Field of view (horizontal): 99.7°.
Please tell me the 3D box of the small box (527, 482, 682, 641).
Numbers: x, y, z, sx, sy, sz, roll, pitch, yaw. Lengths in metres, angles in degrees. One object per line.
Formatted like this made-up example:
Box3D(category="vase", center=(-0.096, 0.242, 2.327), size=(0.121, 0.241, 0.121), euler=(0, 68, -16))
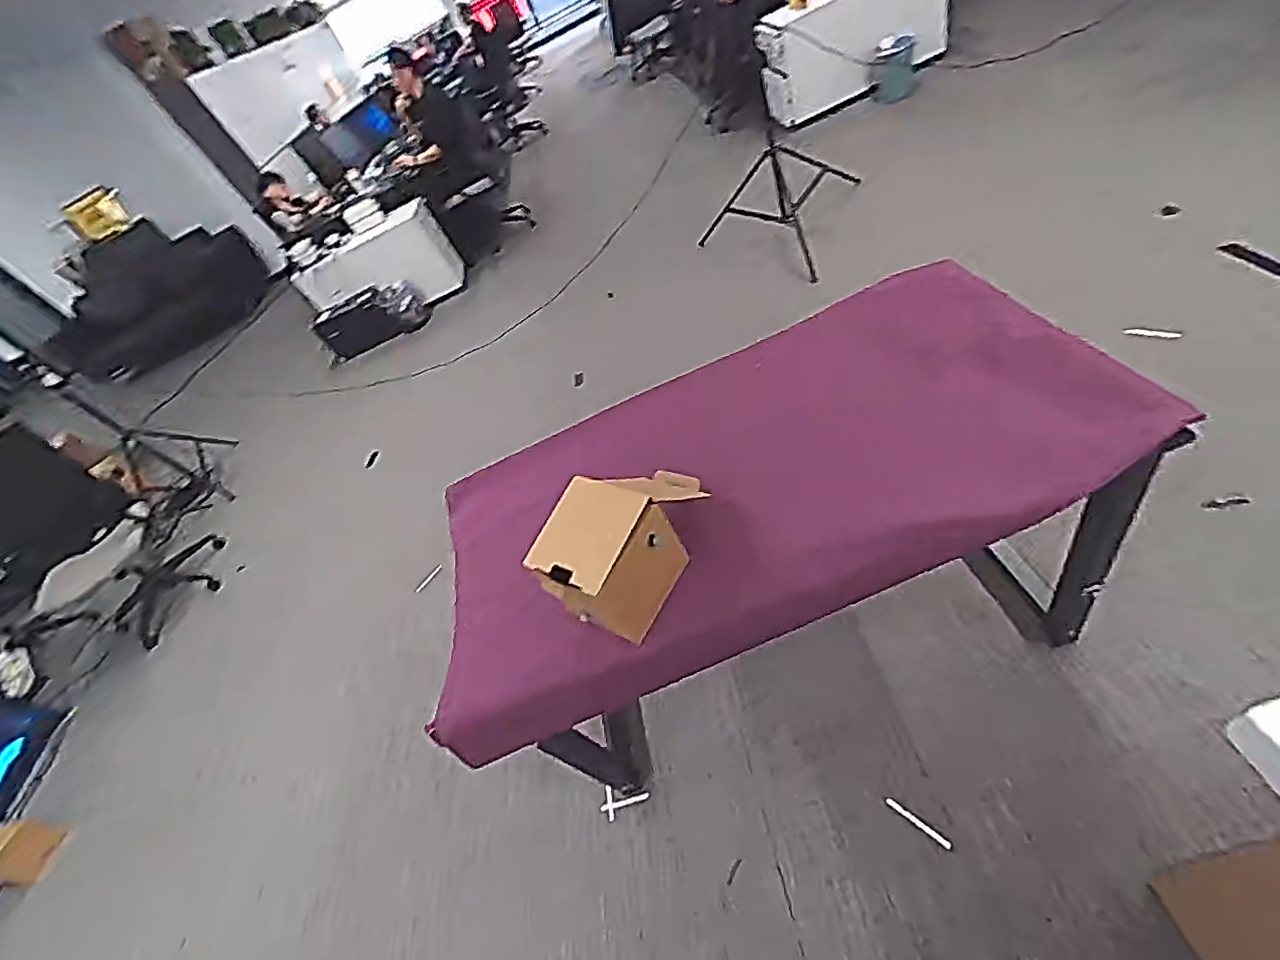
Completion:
Box3D(category="small box", center=(-0.047, 0.134, 0.905), size=(0.168, 0.176, 0.179), euler=(14, 59, 38))
